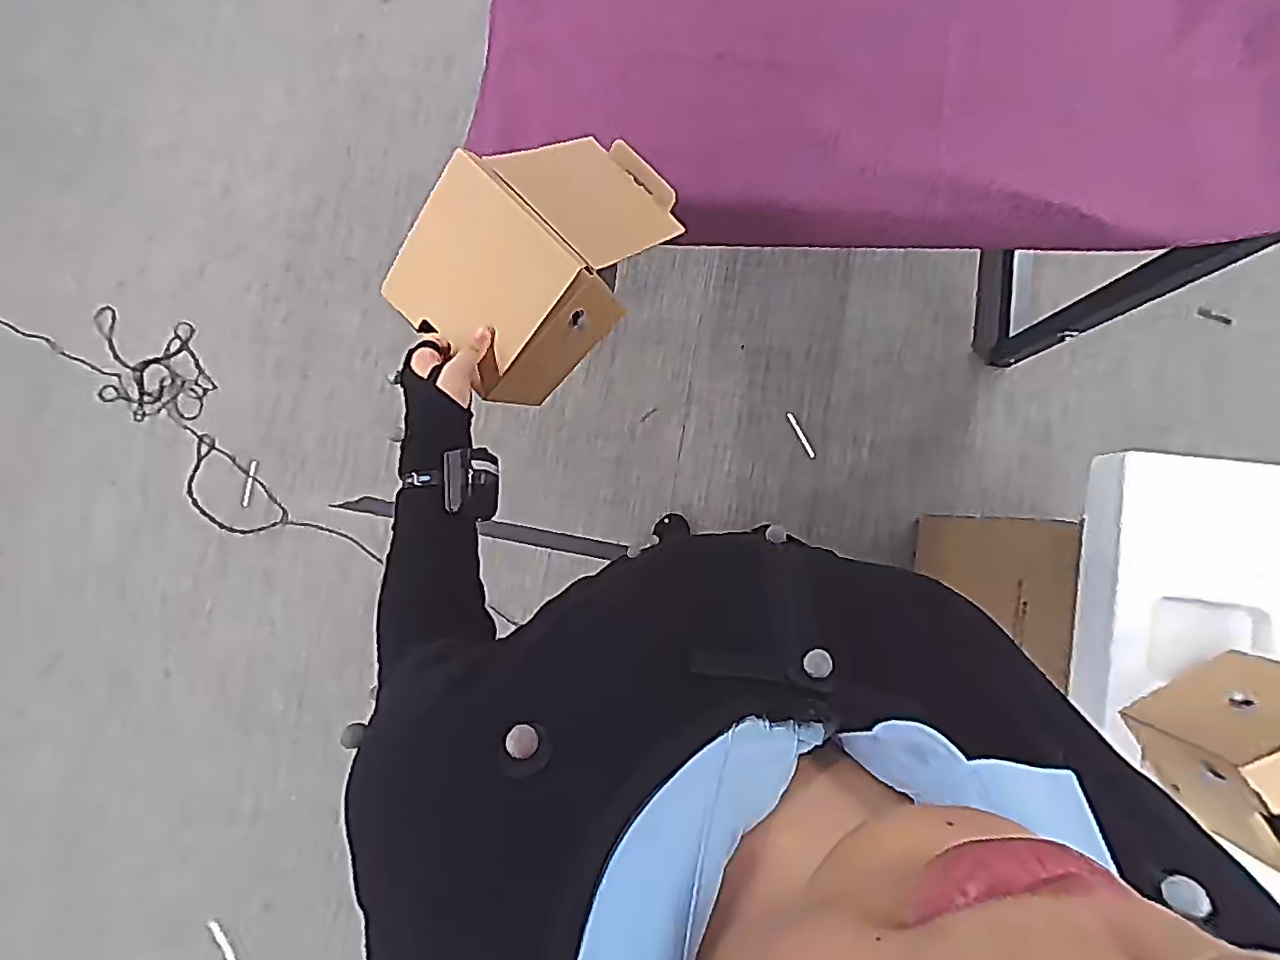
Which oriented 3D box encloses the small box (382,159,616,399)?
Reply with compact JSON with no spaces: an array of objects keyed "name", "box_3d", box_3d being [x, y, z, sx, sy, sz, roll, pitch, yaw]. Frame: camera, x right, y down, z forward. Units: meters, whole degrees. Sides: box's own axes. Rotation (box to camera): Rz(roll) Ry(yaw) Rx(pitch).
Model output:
[{"name":"small box","box_3d":[-0.145,-0.213,0.629,0.168,0.176,0.179,46,101,4]}]
